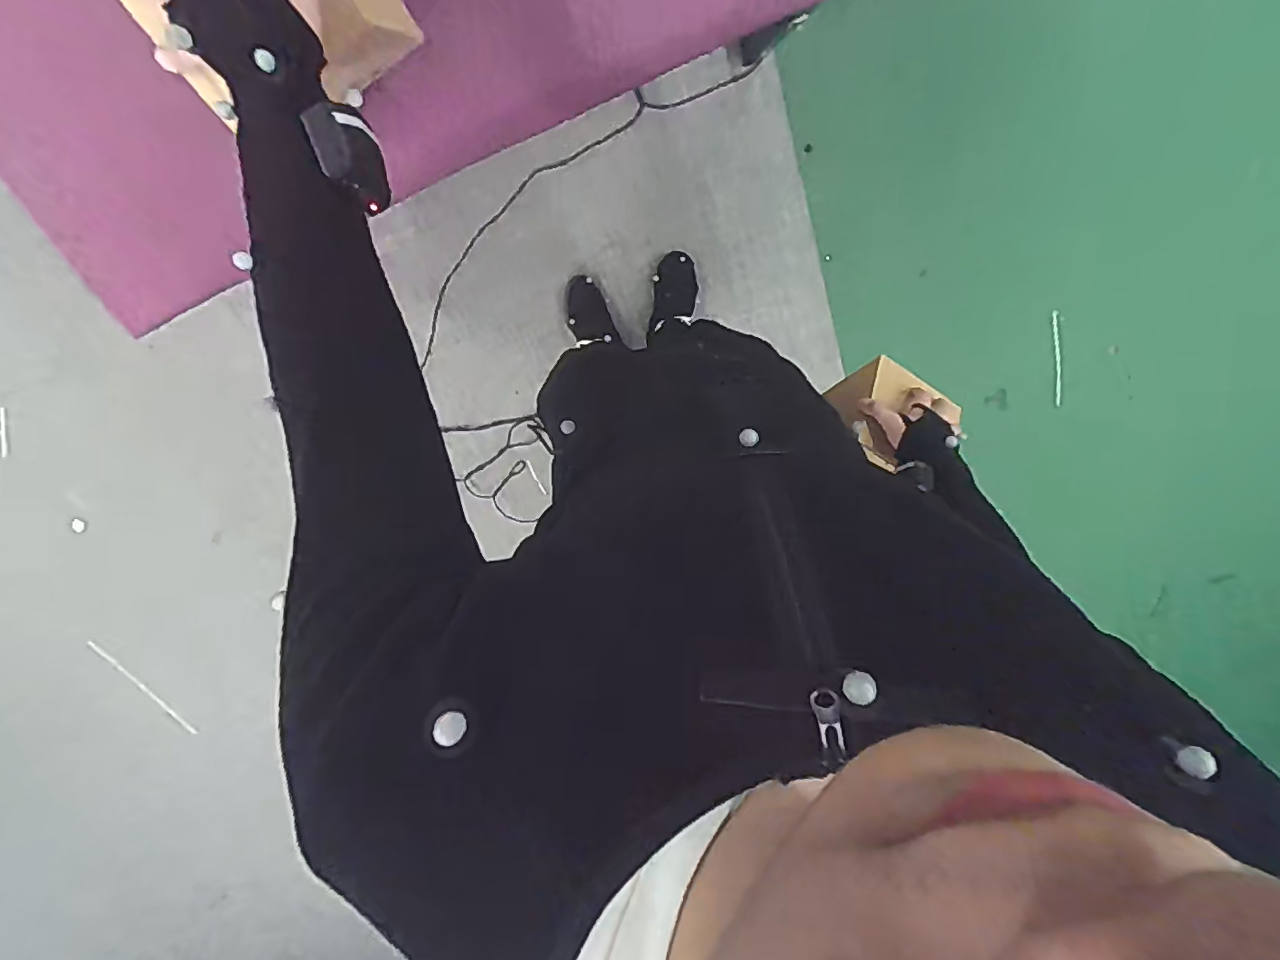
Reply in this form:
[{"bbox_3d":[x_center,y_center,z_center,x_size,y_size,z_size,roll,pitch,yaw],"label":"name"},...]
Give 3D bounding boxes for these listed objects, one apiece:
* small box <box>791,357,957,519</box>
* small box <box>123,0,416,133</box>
[{"bbox_3d":[0.373,-0.058,0.883,0.168,0.176,0.179,31,64,-10],"label":"small box"},{"bbox_3d":[-0.343,-0.454,0.496,0.168,0.176,0.179,-26,124,14],"label":"small box"}]
